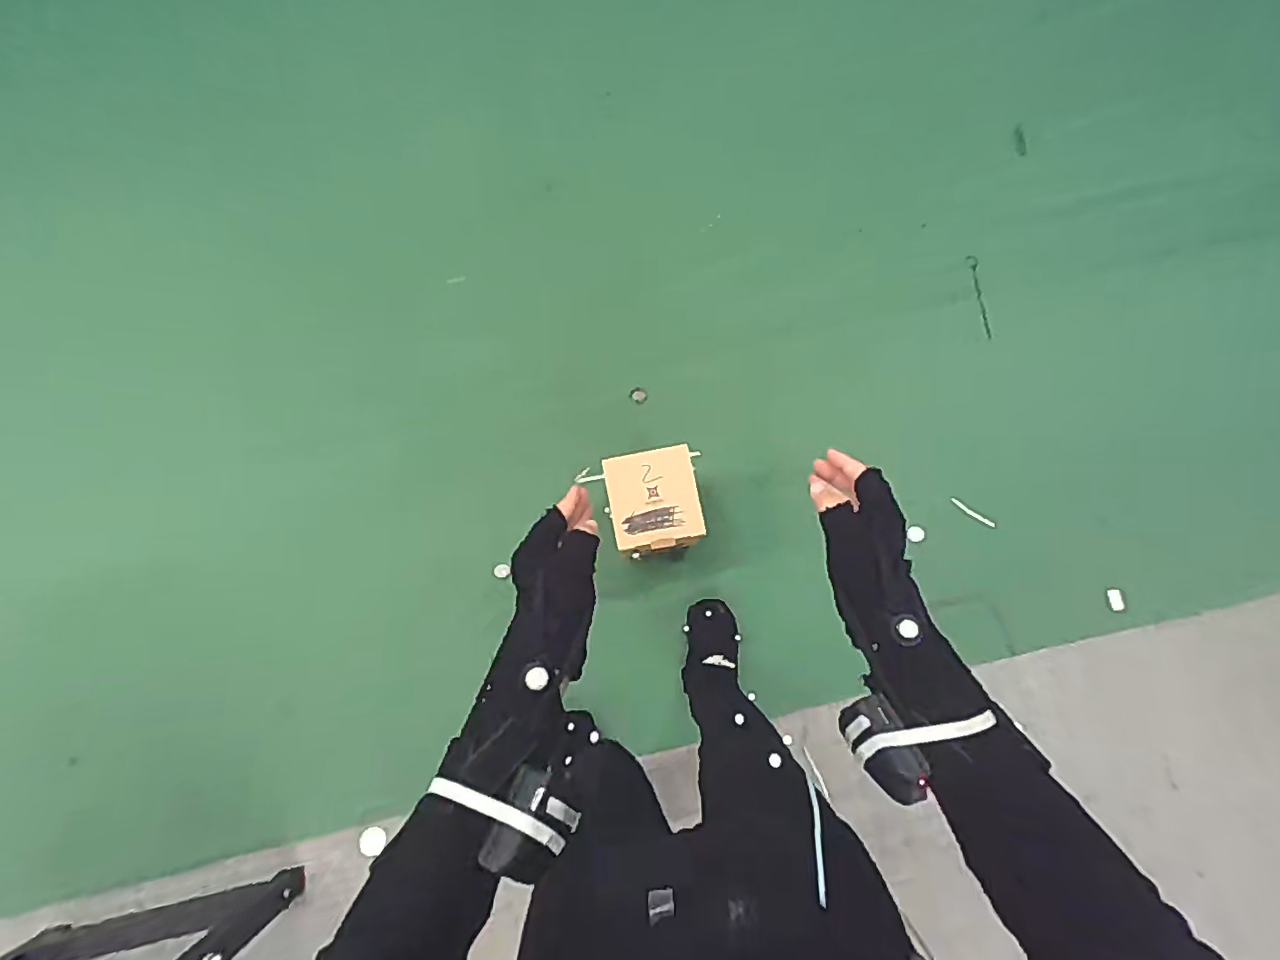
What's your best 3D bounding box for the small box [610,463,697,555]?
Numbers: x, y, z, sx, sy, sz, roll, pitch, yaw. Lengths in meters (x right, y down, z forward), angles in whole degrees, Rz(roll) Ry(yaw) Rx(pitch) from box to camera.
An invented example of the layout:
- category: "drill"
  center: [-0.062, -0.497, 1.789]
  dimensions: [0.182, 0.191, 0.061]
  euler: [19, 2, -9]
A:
- category: "small box"
  center: [0.030, 0.073, 1.240]
  dimensions: [0.168, 0.176, 0.179]
  euler: [-11, 80, -1]
